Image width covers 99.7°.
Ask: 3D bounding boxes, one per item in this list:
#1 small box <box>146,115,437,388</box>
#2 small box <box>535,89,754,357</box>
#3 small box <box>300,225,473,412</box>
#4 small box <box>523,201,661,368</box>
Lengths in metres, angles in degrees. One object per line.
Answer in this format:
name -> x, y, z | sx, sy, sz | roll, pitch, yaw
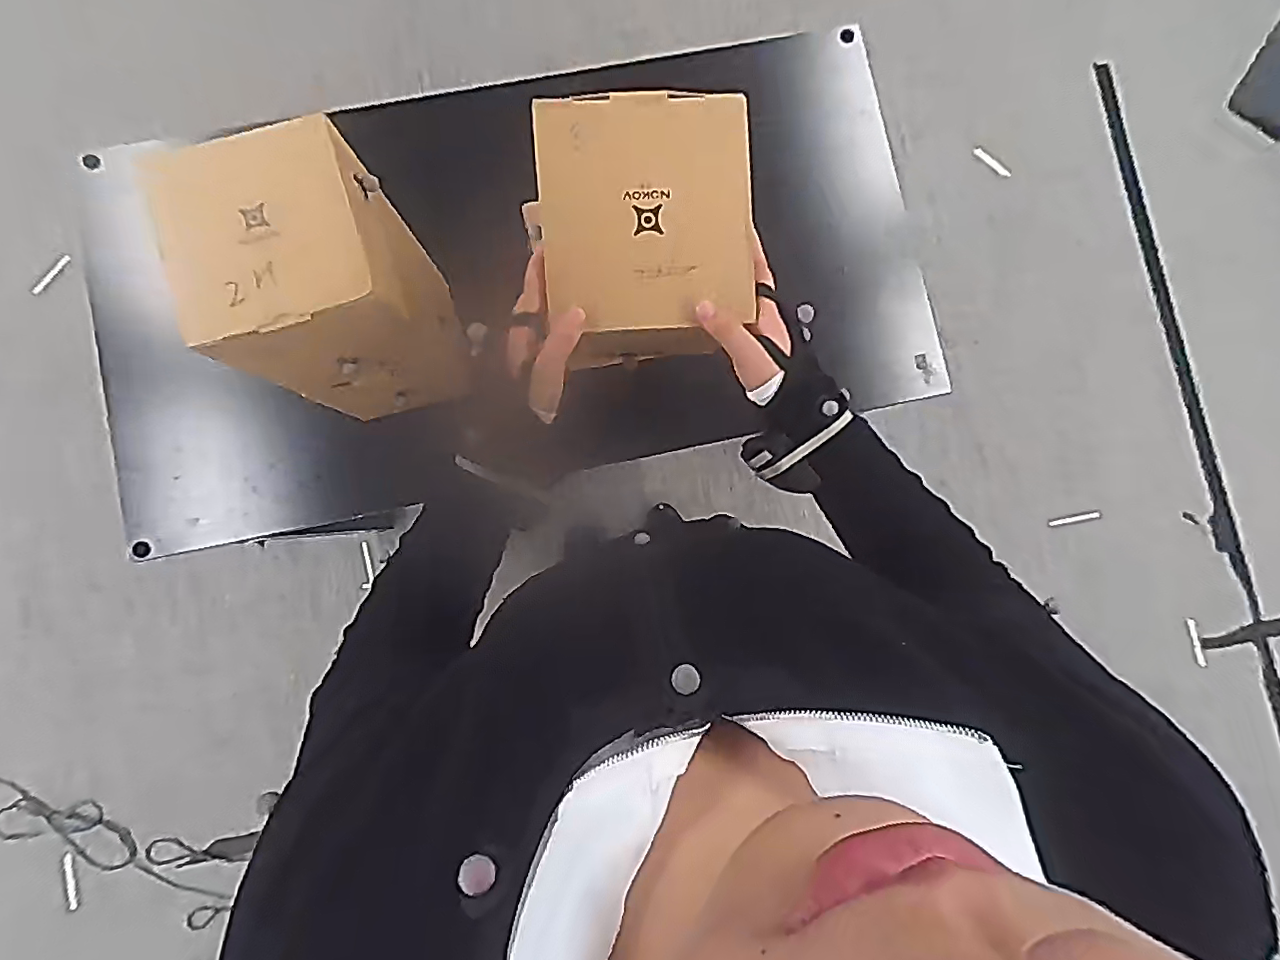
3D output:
small box -> -0.331, -0.214, 0.550 | 0.168, 0.176, 0.179 | -18, 87, -3
small box -> -0.001, -0.216, 0.497 | 0.168, 0.176, 0.179 | -4, 96, -4
small box -> -0.337, -0.197, 0.715 | 0.168, 0.176, 0.179 | -16, 87, -3
small box -> -0.045, -0.261, 0.729 | 0.179, 0.176, 0.168 | -10, 86, -3
